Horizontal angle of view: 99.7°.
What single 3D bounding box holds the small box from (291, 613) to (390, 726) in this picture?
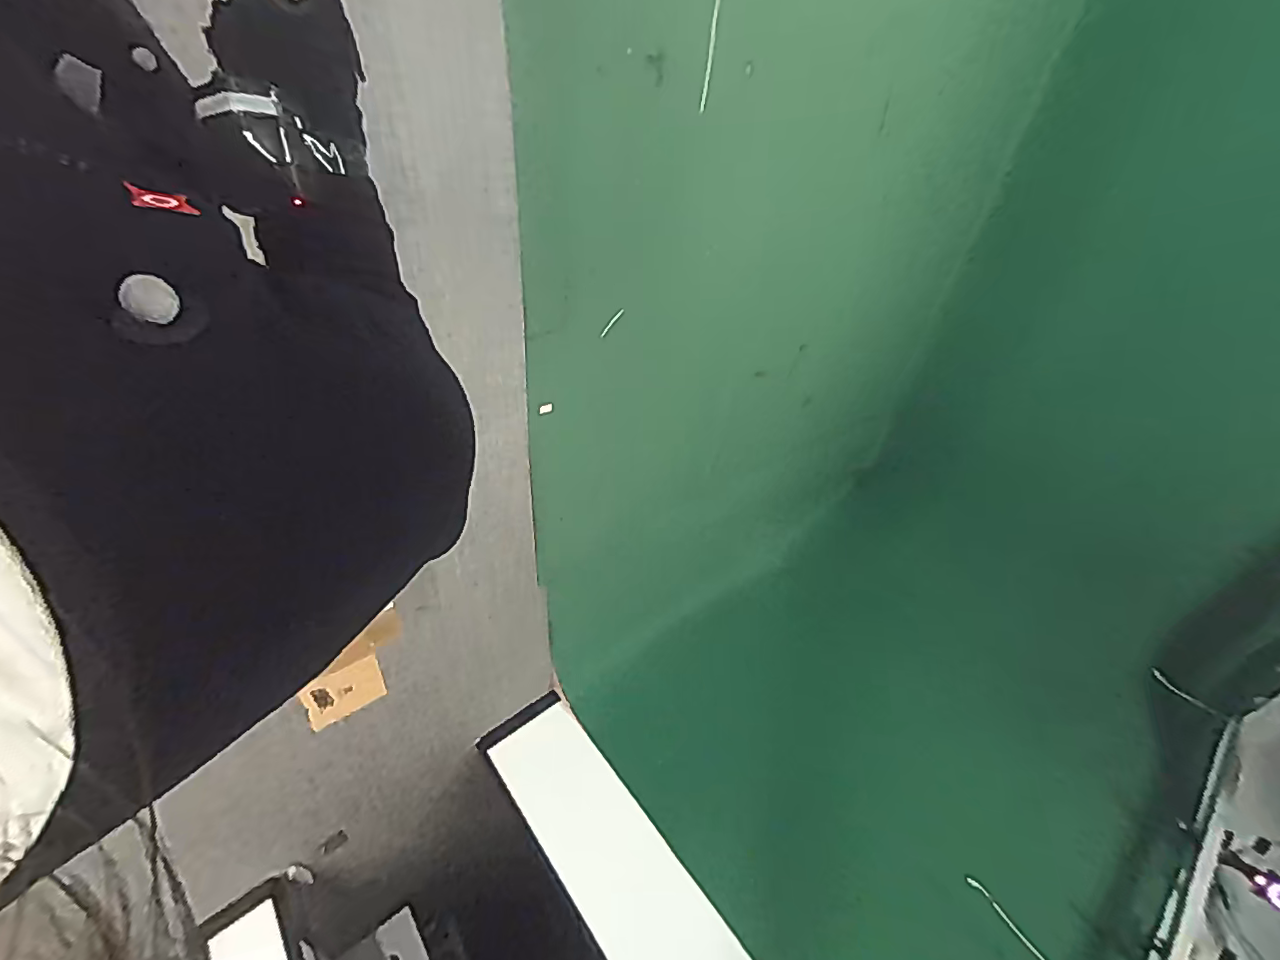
[{"bbox_3d":[-0.760,0.472,1.370,0.179,0.176,0.168,-20,131,-37],"label":"small box"}]
